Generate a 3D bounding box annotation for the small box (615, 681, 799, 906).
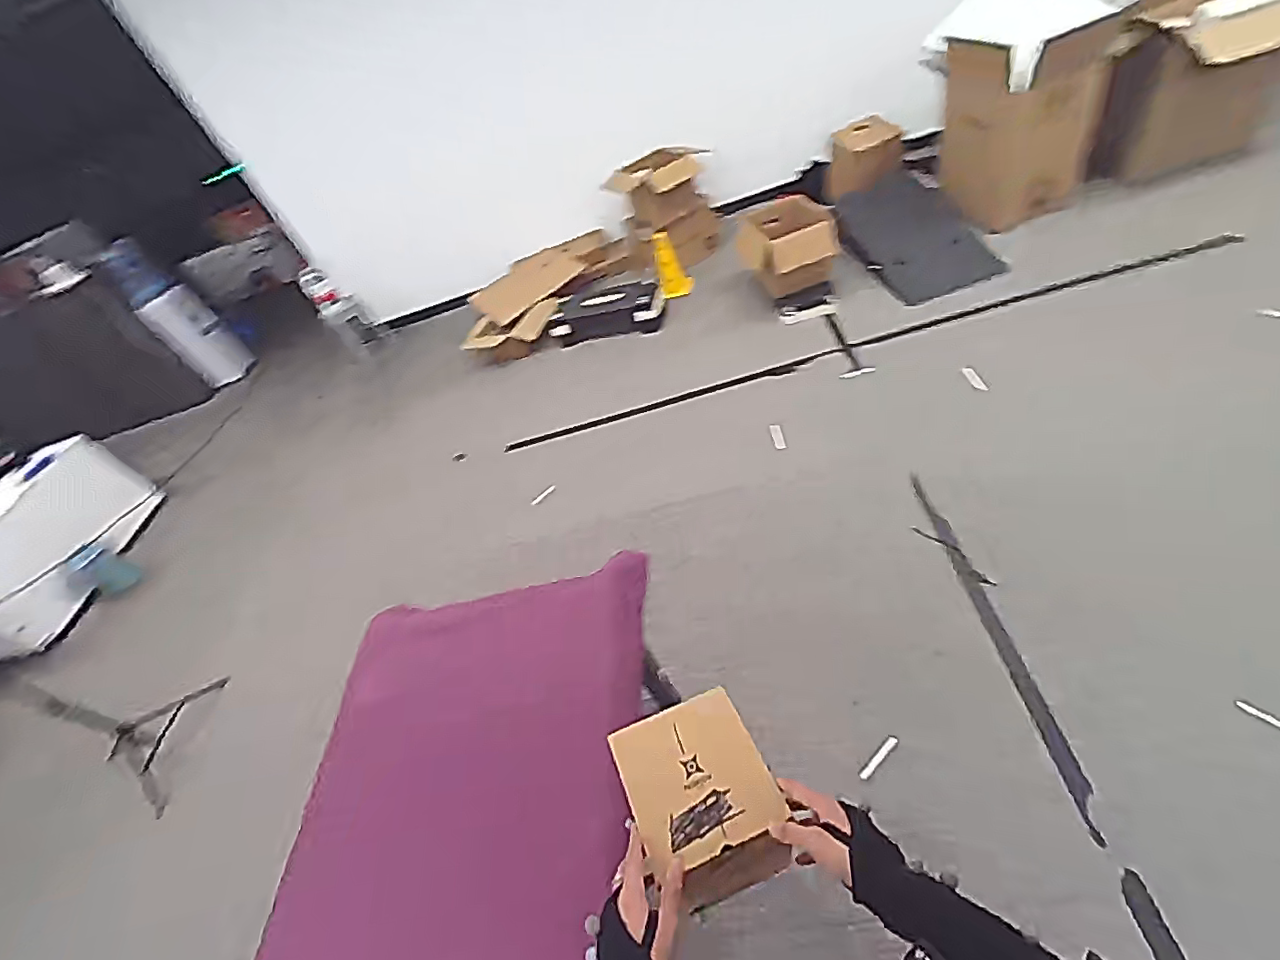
[{"bbox_3d":[0.084,0.398,0.683,0.168,0.176,0.179,-19,39,-10],"label":"small box"}]
